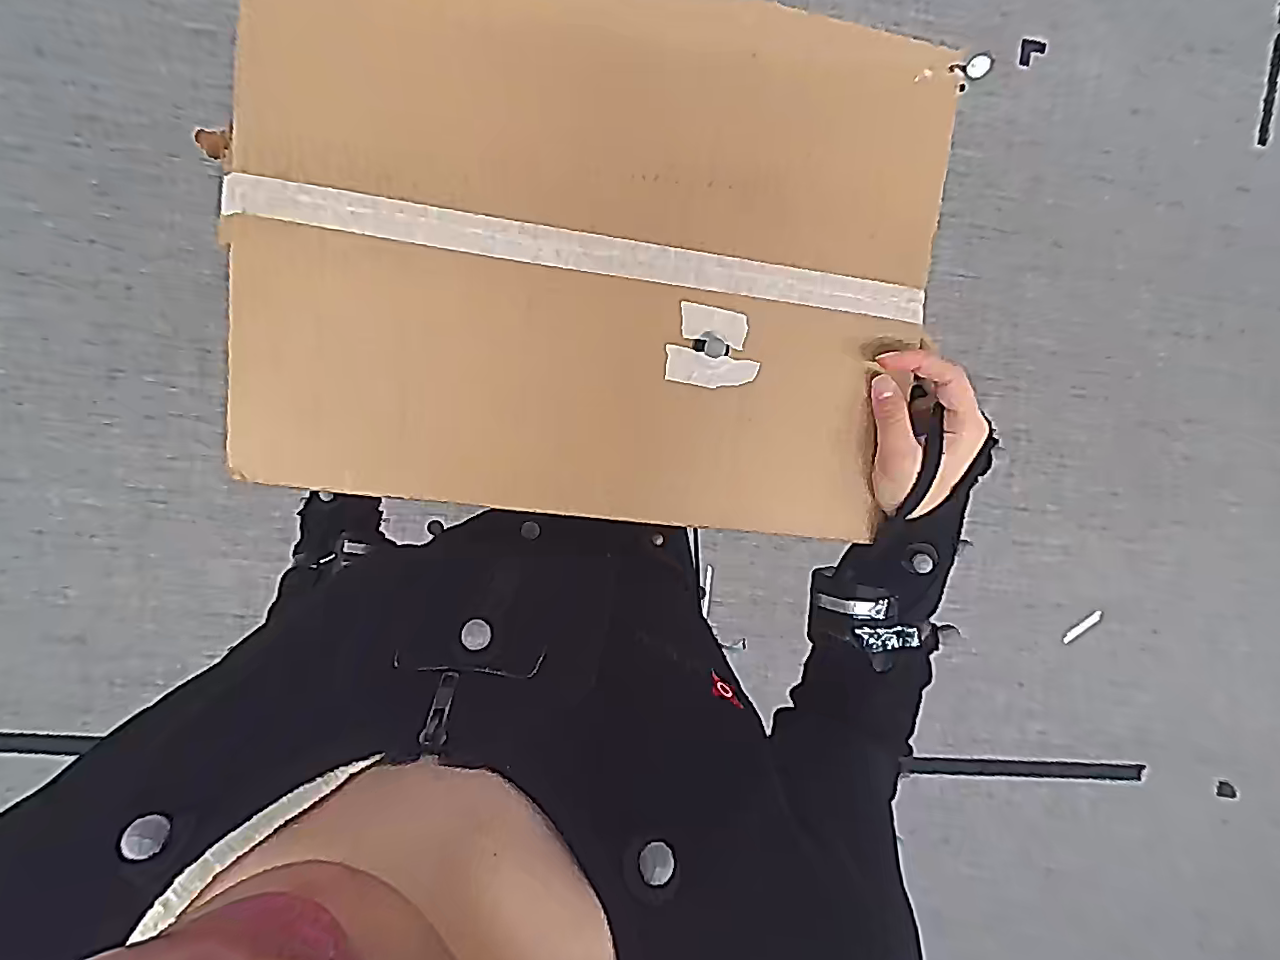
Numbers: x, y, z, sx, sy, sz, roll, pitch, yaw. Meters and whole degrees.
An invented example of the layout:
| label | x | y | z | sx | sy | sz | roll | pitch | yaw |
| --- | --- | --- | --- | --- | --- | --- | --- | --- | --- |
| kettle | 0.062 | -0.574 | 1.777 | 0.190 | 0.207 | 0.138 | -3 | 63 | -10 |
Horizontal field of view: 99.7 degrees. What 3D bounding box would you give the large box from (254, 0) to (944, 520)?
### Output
| label | x | y | z | sx | sy | sz | roll | pitch | yaw |
| --- | --- | --- | --- | --- | --- | --- | --- | --- | --- |
| large box | -0.038 | -0.157 | 0.475 | 0.408 | 0.320 | 0.320 | 6 | 97 | -10 |
